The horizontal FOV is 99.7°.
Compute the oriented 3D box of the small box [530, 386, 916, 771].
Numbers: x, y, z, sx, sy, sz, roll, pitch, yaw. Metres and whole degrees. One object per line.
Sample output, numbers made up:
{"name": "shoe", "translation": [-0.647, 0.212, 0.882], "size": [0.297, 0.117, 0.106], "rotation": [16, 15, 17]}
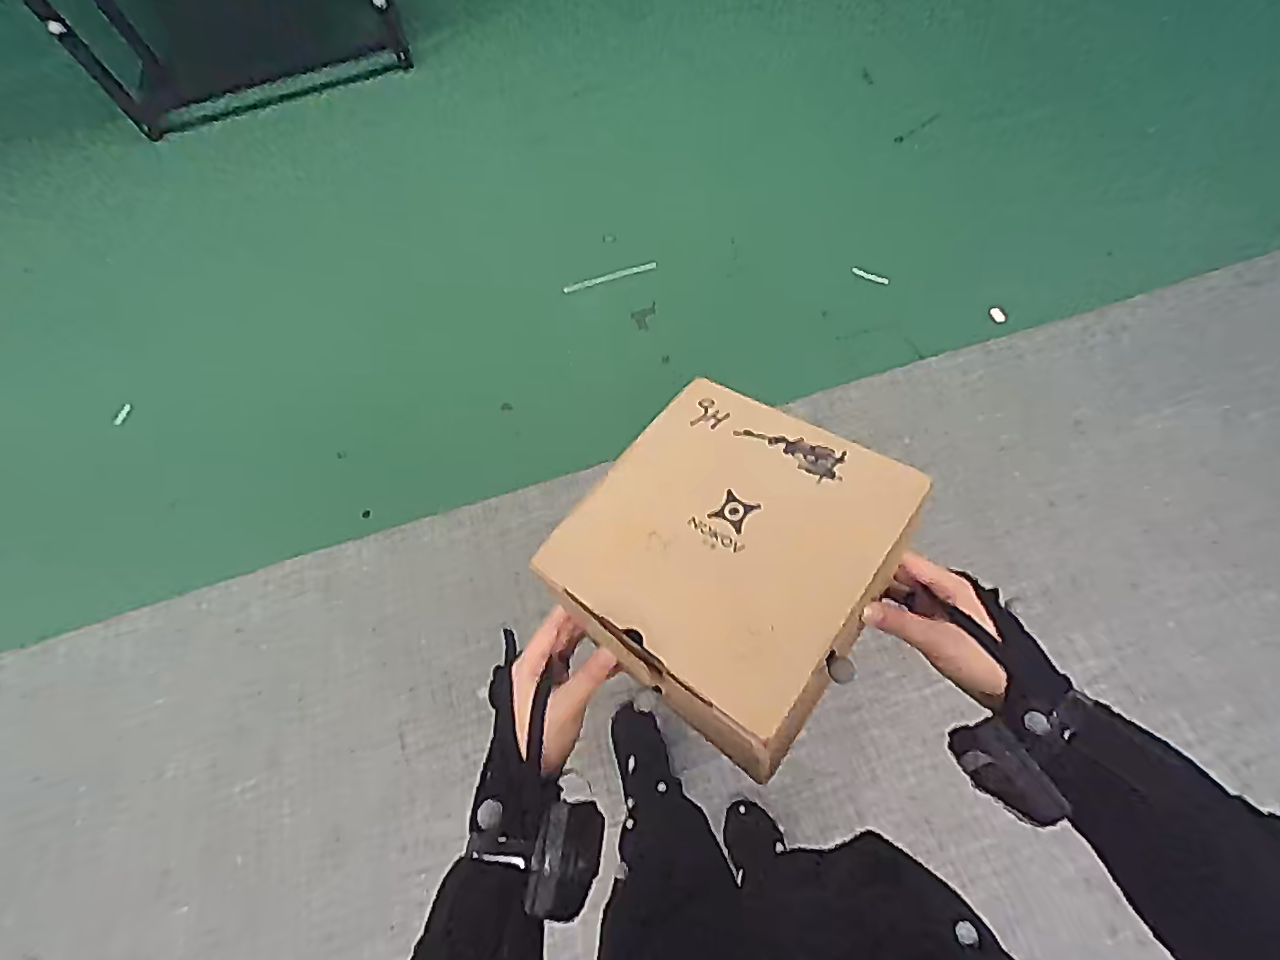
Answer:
{"name": "small box", "translation": [0.062, 0.073, 0.381], "size": [0.168, 0.176, 0.179], "rotation": [31, 68, 29]}
